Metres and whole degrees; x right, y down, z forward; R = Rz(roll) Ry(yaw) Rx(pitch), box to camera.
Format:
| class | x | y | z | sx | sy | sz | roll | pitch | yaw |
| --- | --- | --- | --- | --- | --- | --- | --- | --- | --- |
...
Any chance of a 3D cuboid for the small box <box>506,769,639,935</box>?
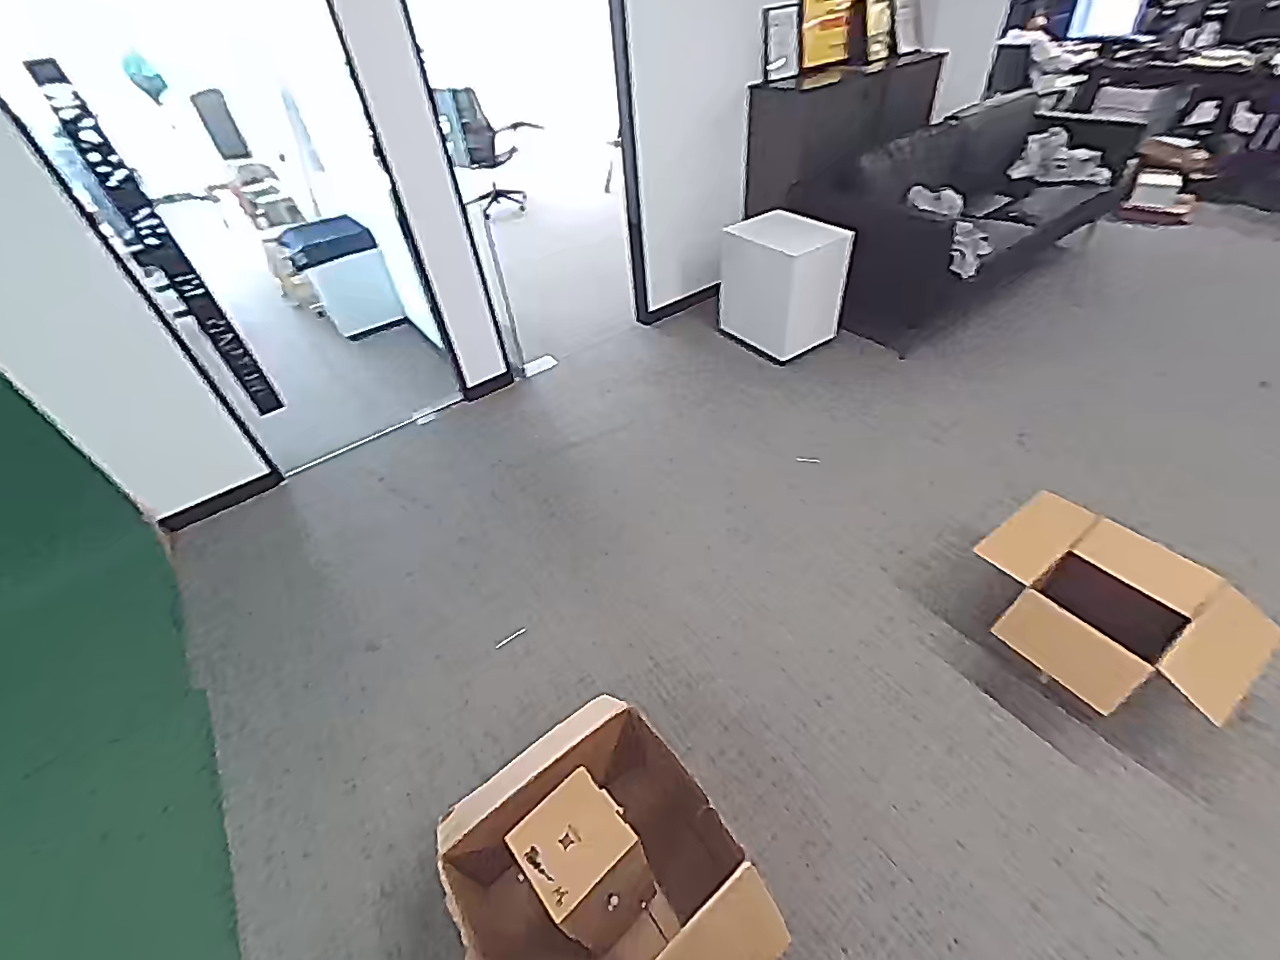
| class | x | y | z | sx | sy | sz | roll | pitch | yaw |
| --- | --- | --- | --- | --- | --- | --- | --- | --- | --- |
| small box | -0.116 | 0.688 | 1.002 | 0.179 | 0.176 | 0.168 | -36 | 51 | -28 |
